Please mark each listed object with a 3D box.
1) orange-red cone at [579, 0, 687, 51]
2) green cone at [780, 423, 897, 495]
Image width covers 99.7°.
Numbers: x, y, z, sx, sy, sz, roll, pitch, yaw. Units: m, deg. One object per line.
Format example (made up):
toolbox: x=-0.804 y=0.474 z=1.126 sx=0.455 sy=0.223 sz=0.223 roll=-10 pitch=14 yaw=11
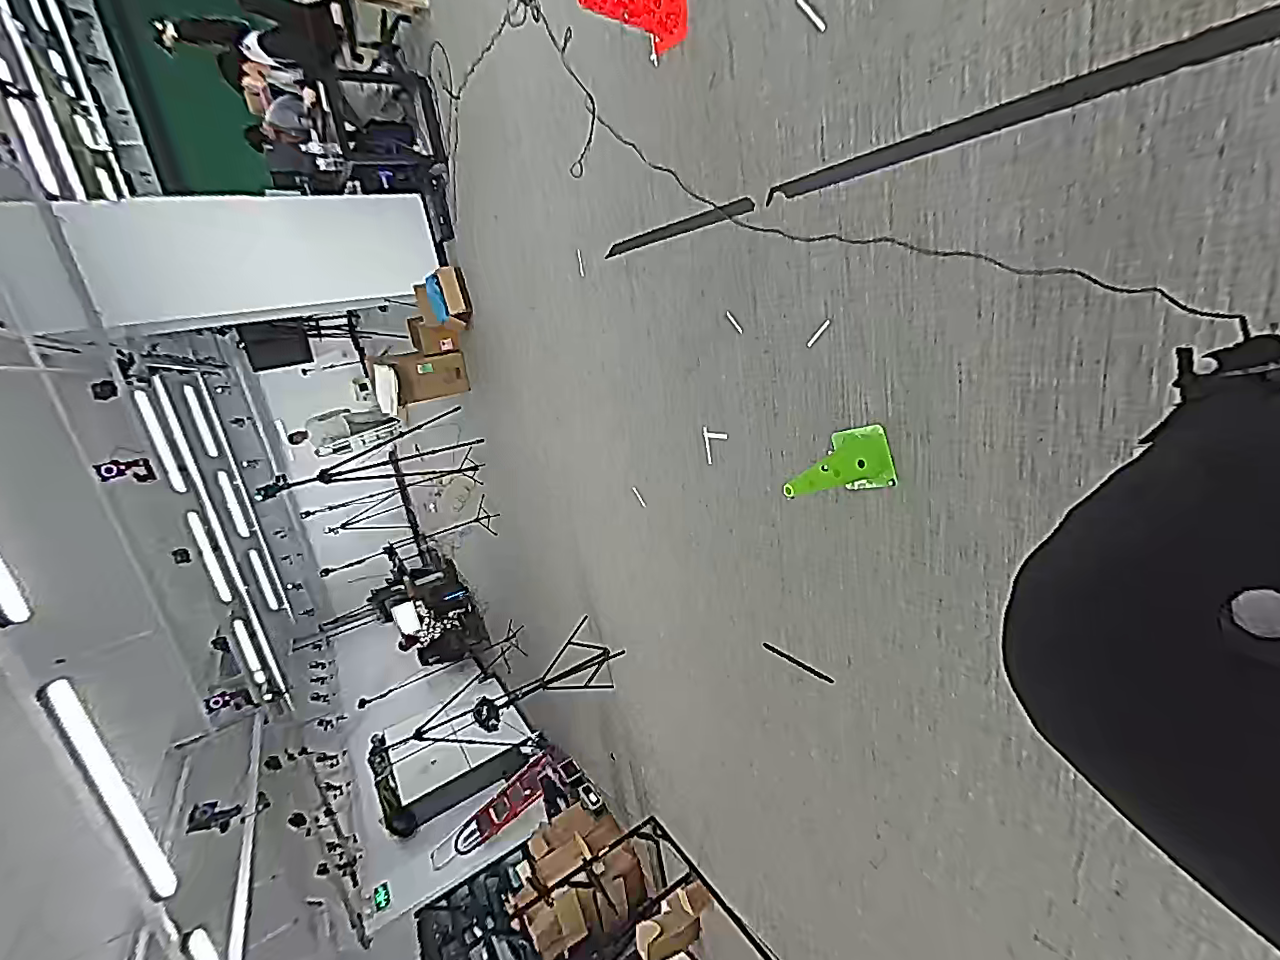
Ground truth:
orange-red cone: x=-0.040 y=-1.593 z=1.805 sx=0.199 sy=0.360 sz=0.198 roll=27 pitch=129 yaw=51
green cone: x=0.577 y=-0.028 z=1.661 sx=0.202 sy=0.368 sz=0.200 roll=-11 pitch=96 yaw=63
